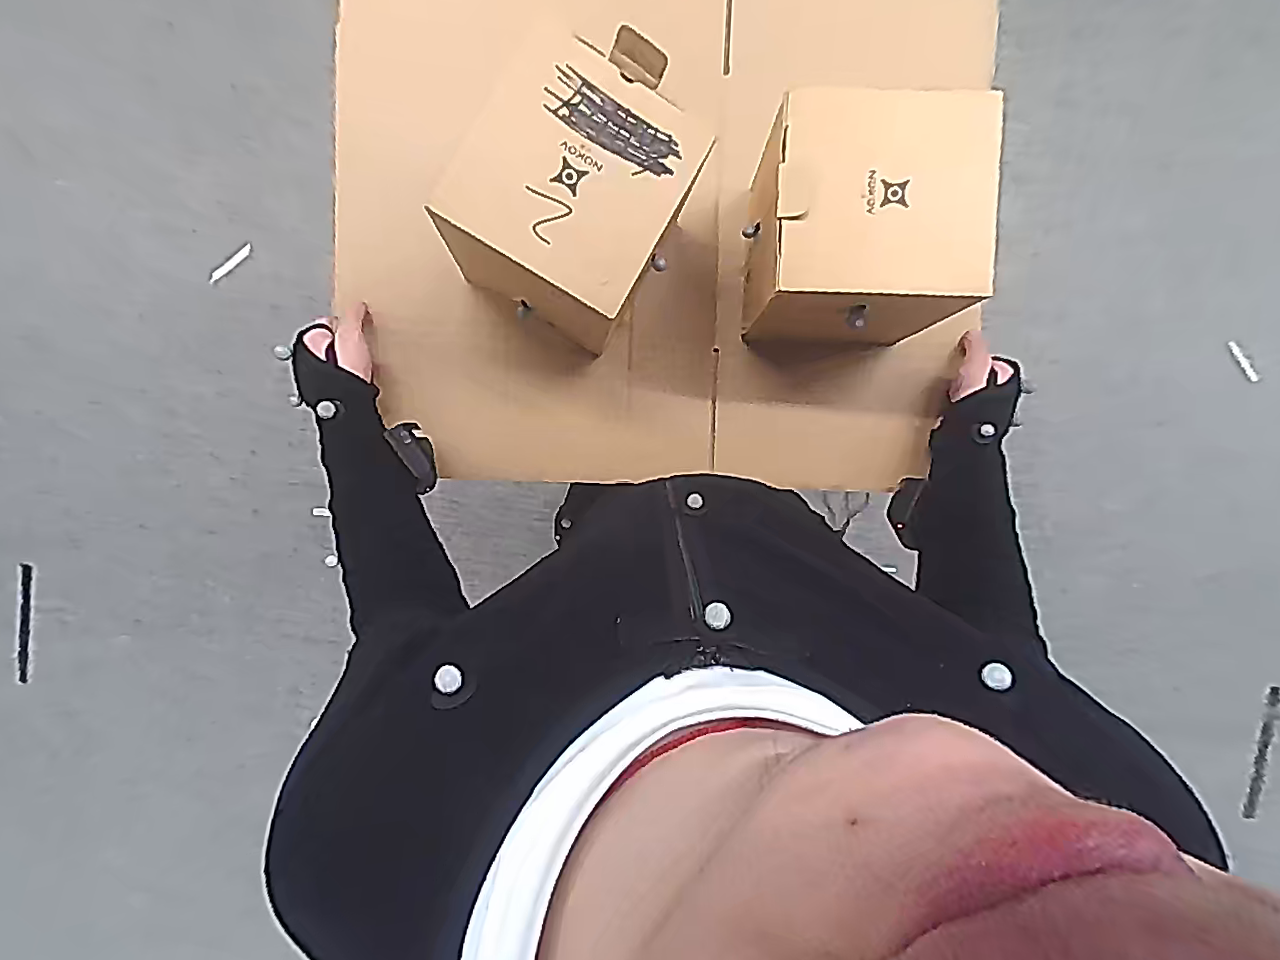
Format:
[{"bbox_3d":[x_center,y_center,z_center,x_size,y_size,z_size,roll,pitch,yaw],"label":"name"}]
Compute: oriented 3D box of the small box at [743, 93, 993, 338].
[{"bbox_3d":[0.207,-0.242,0.534,0.179,0.176,0.168,2,92,2],"label":"small box"}]
